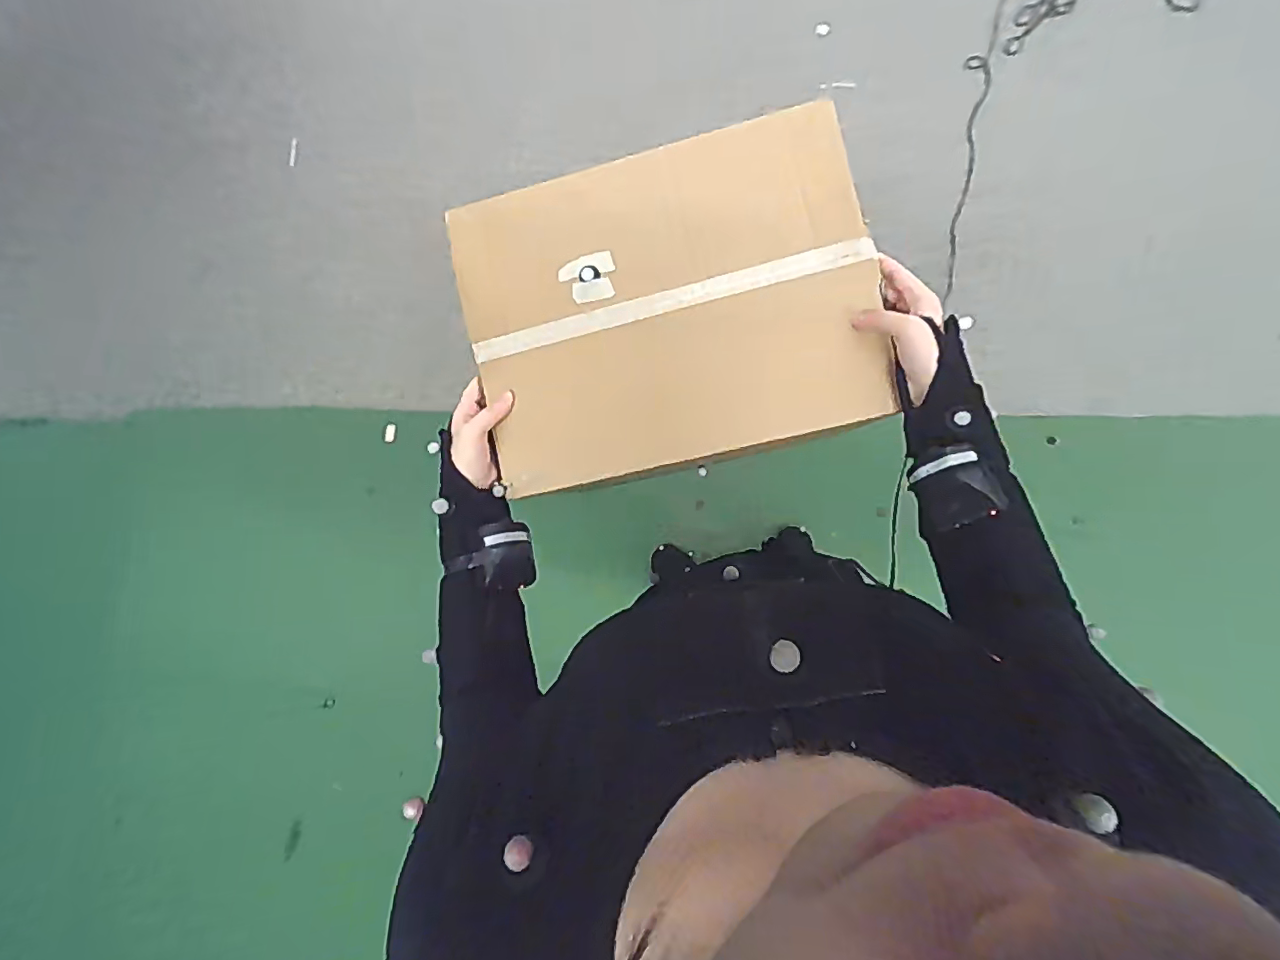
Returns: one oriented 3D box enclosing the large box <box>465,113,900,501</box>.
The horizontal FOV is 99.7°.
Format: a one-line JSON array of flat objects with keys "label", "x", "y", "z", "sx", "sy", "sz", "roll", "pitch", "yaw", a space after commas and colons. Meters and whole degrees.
[{"label": "large box", "x": 0.055, "y": -0.172, "z": 0.703, "sx": 0.408, "sy": 0.320, "sz": 0.320, "roll": -13, "pitch": 87, "yaw": 9}]
